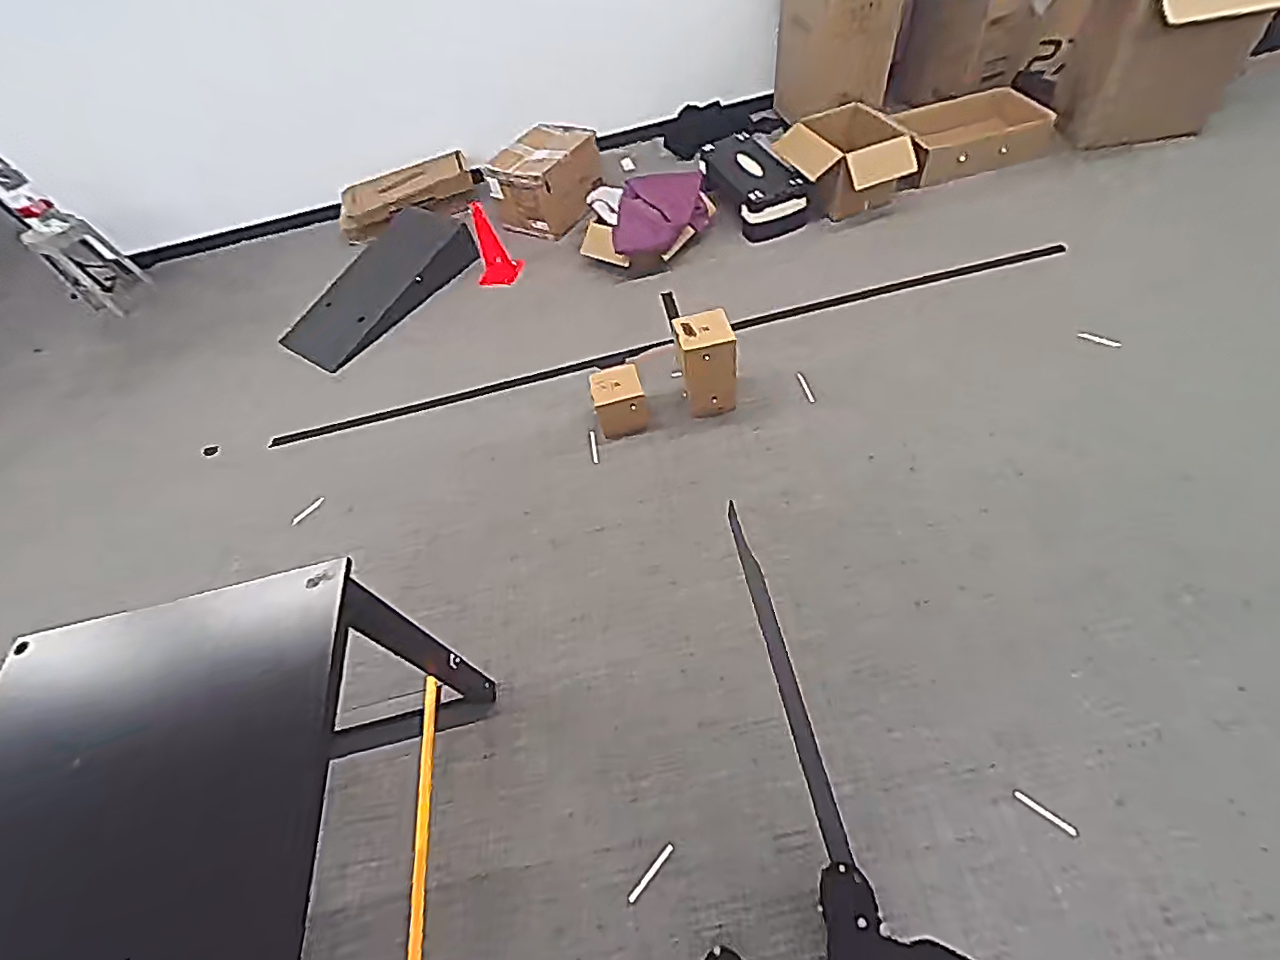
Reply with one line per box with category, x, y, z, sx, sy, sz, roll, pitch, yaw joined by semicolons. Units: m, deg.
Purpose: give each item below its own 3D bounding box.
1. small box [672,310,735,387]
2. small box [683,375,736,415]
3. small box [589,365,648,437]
small box;0.215;-0.434;1.806;0.179;0.176;0.168;-13;54;0
small box;0.247;-0.354;1.949;0.168;0.176;0.179;-12;54;2
small box;-0.073;-0.283;1.957;0.179;0.176;0.168;-15;53;1
